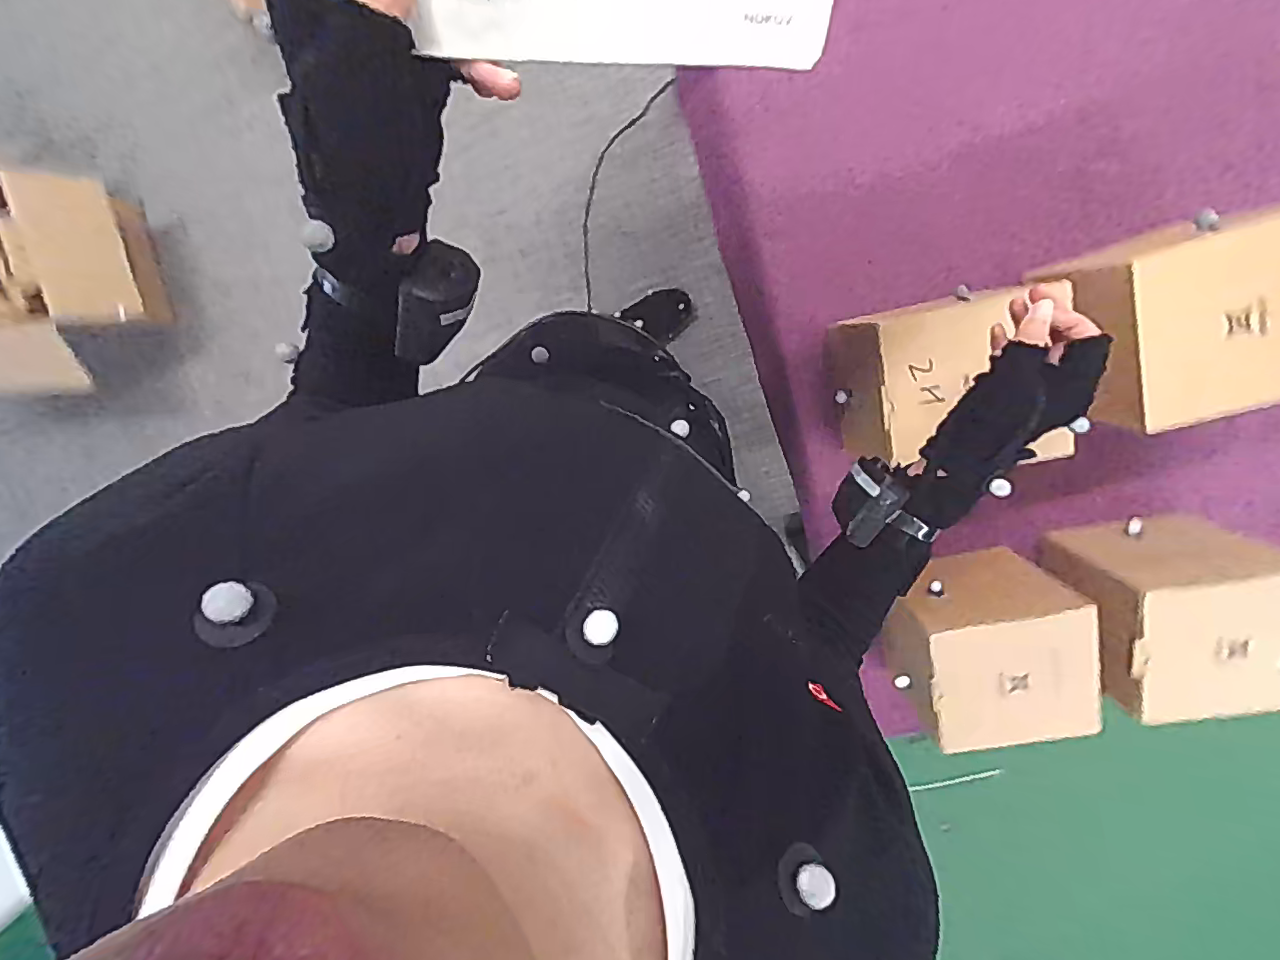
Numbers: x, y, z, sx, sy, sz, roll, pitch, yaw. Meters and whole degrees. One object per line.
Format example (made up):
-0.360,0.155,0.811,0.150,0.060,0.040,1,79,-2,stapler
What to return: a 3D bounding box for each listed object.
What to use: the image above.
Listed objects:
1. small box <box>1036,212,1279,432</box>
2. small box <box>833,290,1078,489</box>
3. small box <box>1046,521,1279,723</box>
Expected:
0.551,-0.162,0.566,0.179,0.176,0.168,-16,104,8,small box
0.331,-0.104,0.594,0.179,0.176,0.168,-11,104,7,small box
0.627,0.160,0.647,0.179,0.176,0.168,-9,105,7,small box
